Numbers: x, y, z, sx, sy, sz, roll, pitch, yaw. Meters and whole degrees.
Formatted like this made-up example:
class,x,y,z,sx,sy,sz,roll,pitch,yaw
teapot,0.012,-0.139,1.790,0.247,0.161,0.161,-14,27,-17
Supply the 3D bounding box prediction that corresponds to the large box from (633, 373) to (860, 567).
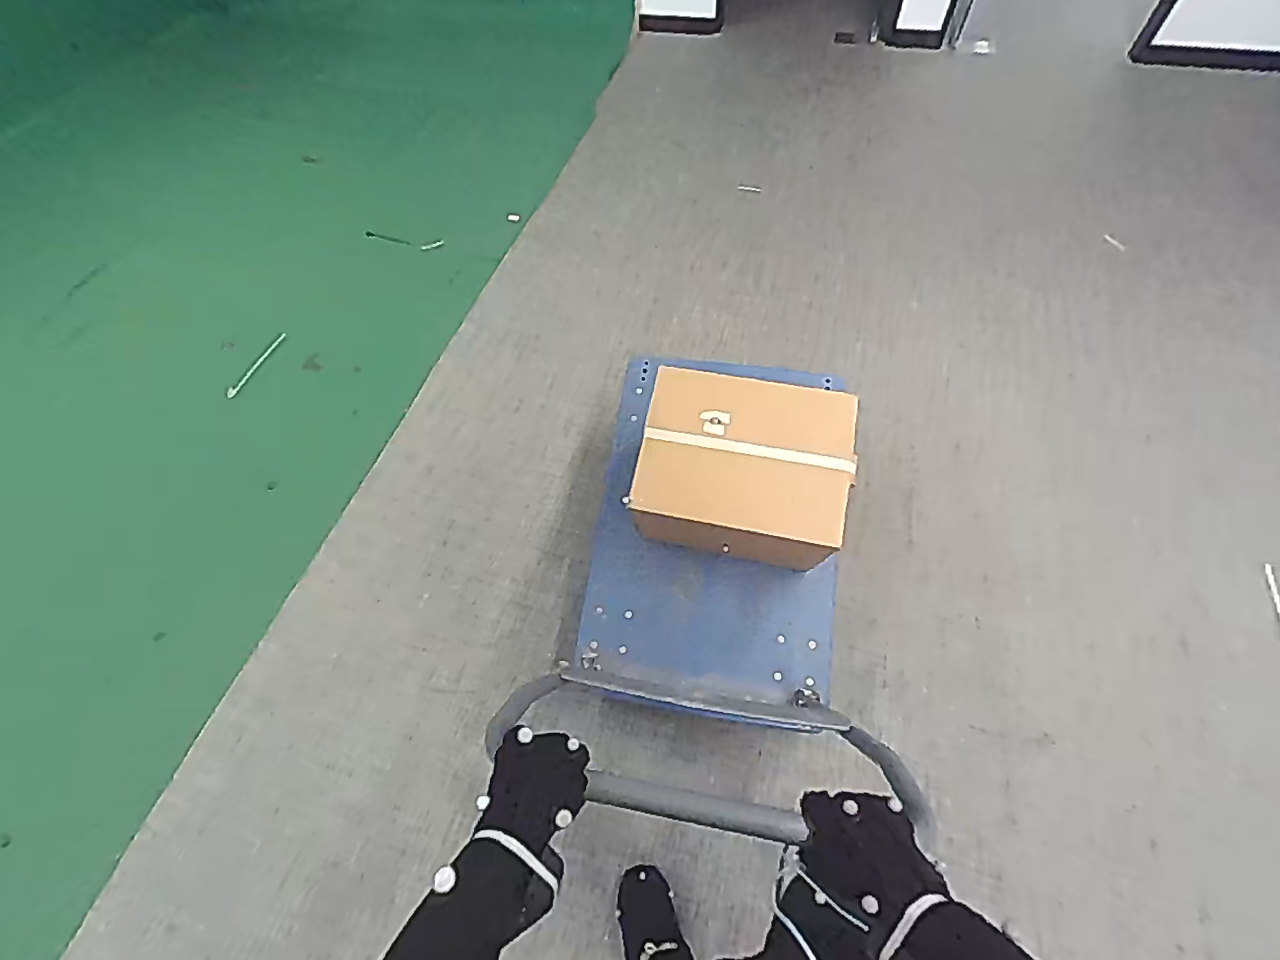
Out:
class,x,y,z,sx,sy,sz,roll,pitch,yaw
large box,0.228,-0.007,1.188,0.408,0.320,0.320,10,74,10
